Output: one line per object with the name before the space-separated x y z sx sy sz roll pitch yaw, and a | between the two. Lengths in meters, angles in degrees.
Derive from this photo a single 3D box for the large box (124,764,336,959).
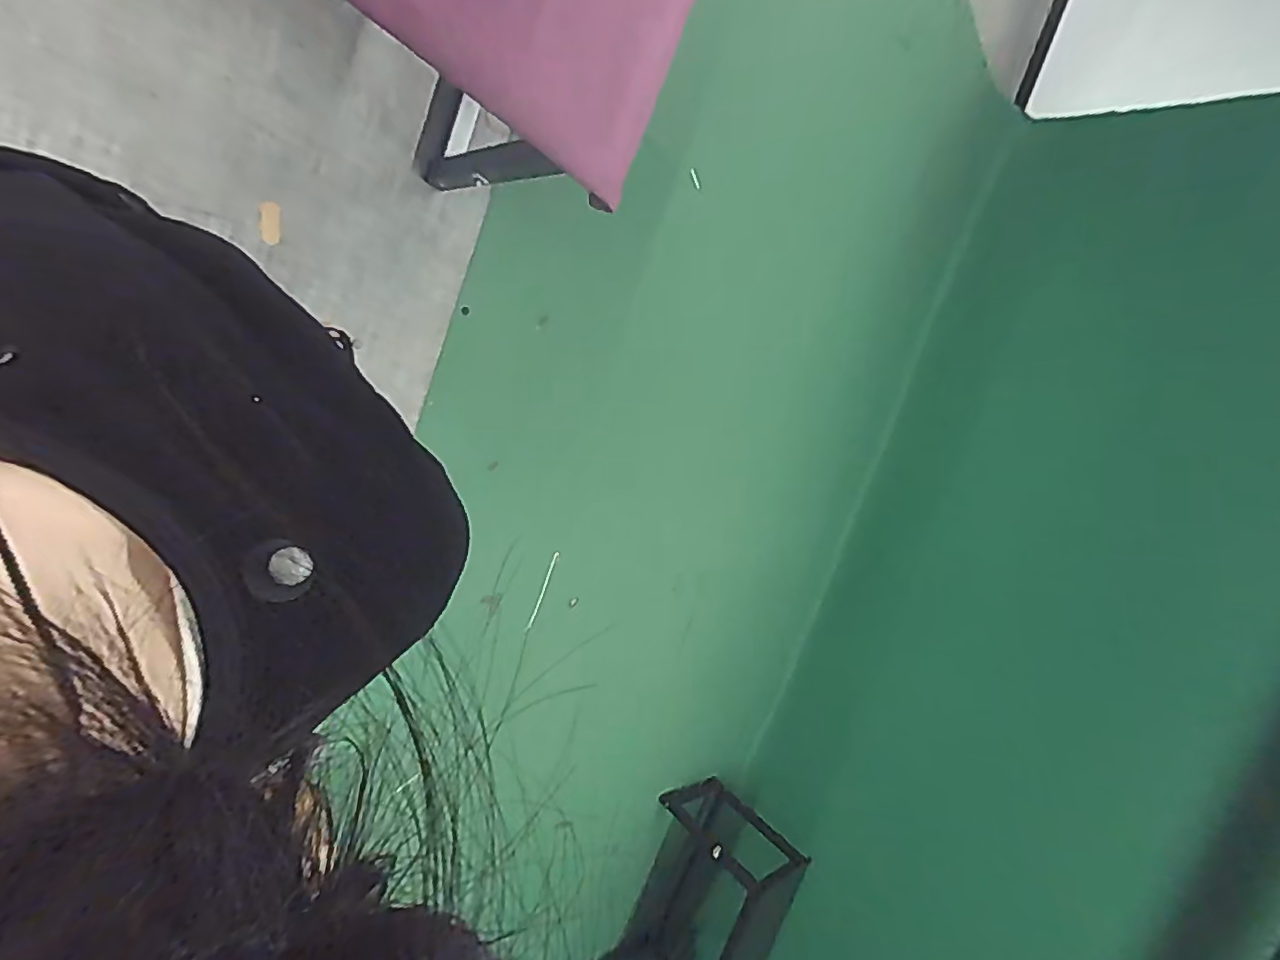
large box | -1.075 1.053 1.436 0.408 0.320 0.320 -6 112 -44
